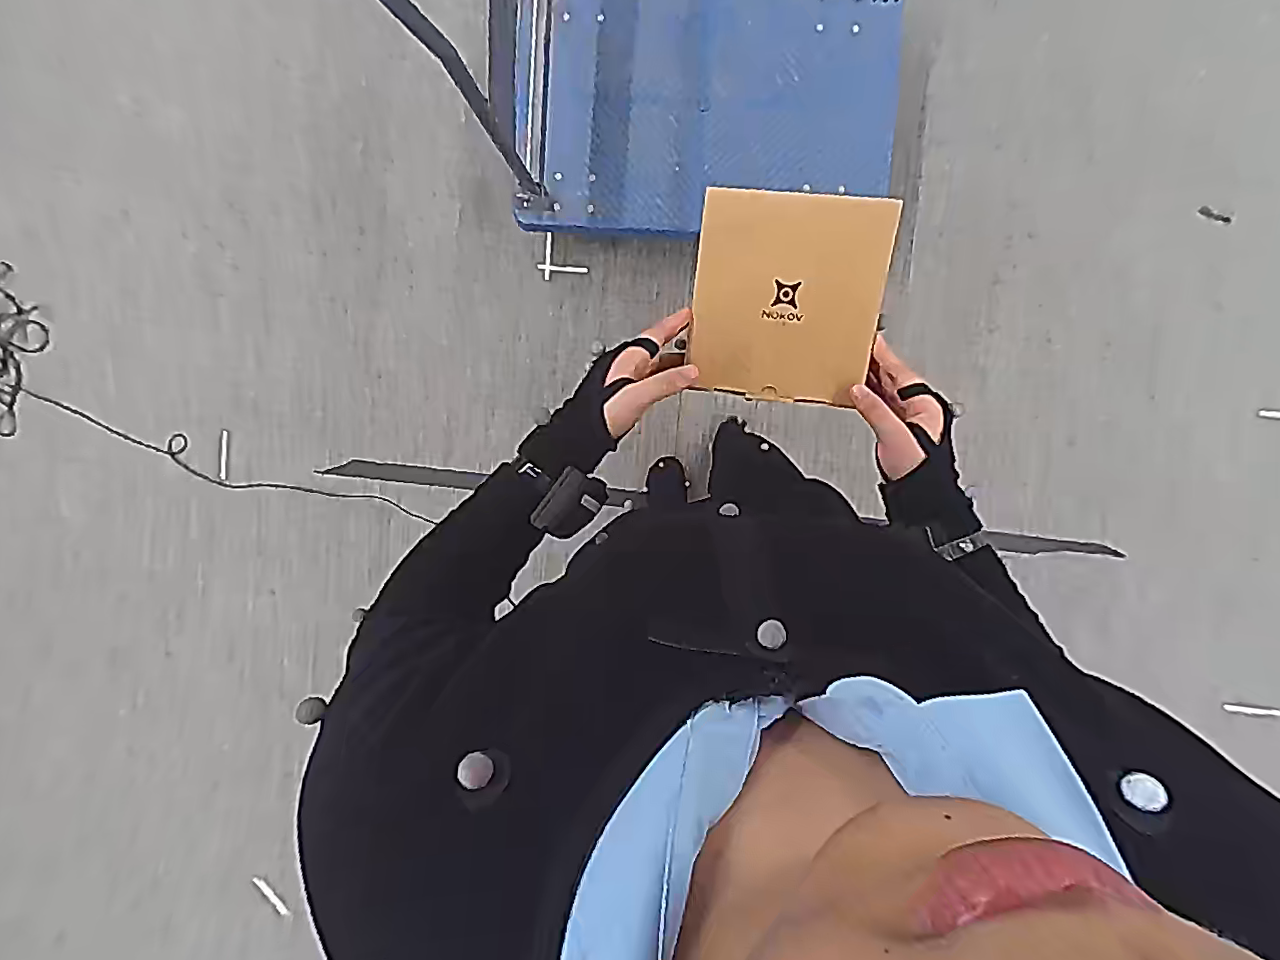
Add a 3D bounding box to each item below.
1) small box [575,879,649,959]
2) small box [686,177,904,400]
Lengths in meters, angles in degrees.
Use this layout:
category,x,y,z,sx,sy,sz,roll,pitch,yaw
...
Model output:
category,x,y,z,sx,sy,sz,roll,pitch,yaw
small box,-0.070,1.134,1.322,0.168,0.176,0.179,10,94,1
small box,0.142,-0.184,0.551,0.168,0.176,0.179,8,105,8
